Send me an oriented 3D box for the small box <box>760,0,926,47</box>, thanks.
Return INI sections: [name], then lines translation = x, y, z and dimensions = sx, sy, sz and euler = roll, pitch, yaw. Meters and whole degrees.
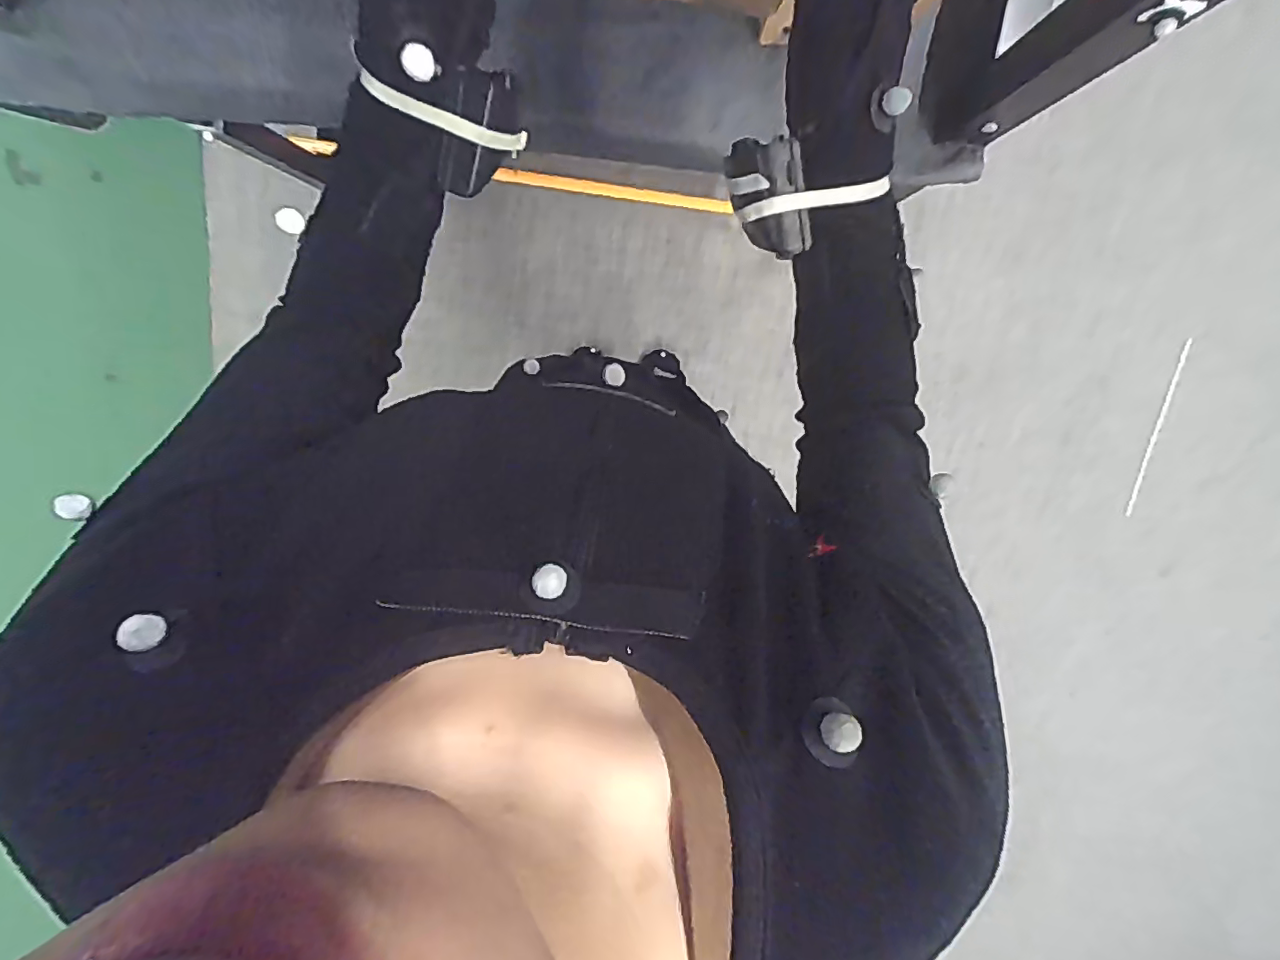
[small box]
translation = 0.219, -0.570, 0.535
dimensions = 0.168, 0.176, 0.179
euler = 2, 101, 1
